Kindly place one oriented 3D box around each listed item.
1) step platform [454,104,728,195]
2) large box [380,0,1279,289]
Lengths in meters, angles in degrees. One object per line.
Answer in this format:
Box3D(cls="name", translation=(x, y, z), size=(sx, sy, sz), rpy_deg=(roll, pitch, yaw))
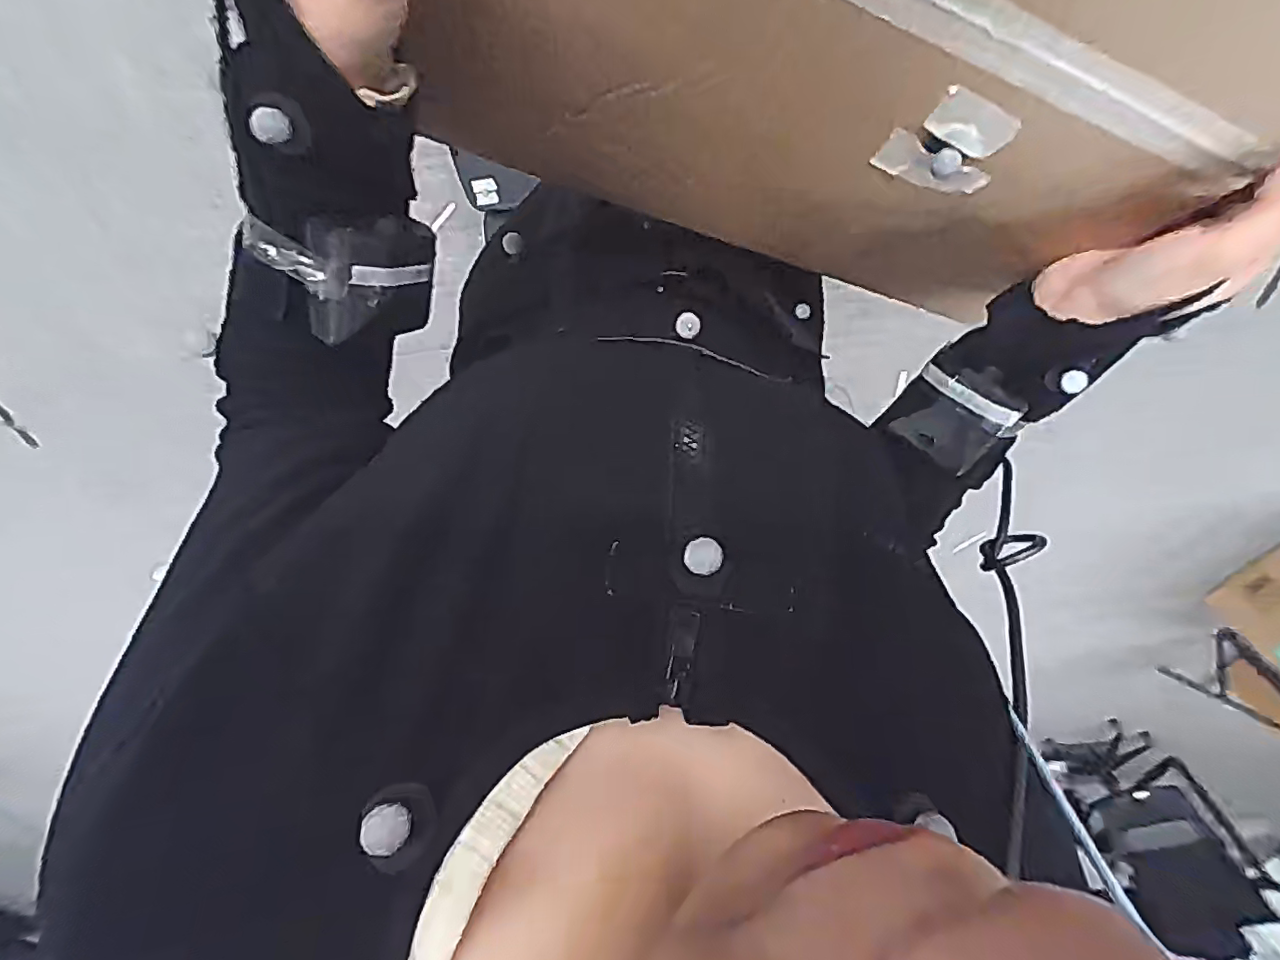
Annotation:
Box3D(cls="step platform", translation=(-0.022, -0.752, 1.093), size=(0.684, 0.204, 0.286), rpy_deg=(-2, 131, -3))
Box3D(cls="large box", translation=(0.124, -0.336, 0.209), size=(0.408, 0.320, 0.320), rpy_deg=(11, 166, -15))
